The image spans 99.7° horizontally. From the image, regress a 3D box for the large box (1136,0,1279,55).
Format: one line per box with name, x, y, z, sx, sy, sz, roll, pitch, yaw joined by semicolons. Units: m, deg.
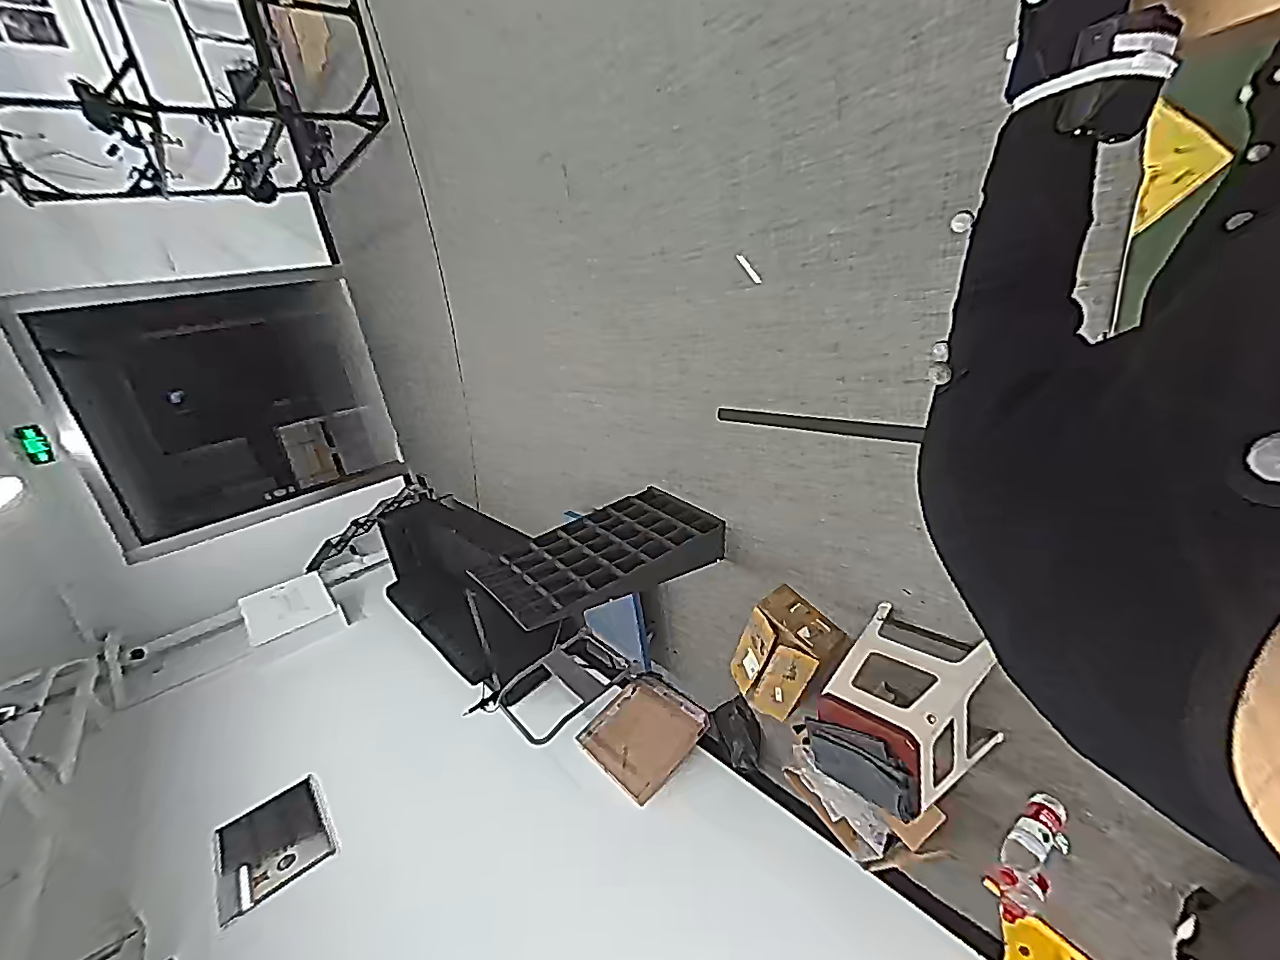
large box;0.556;-0.500;0.282;0.408;0.320;0.320;8;122;49
